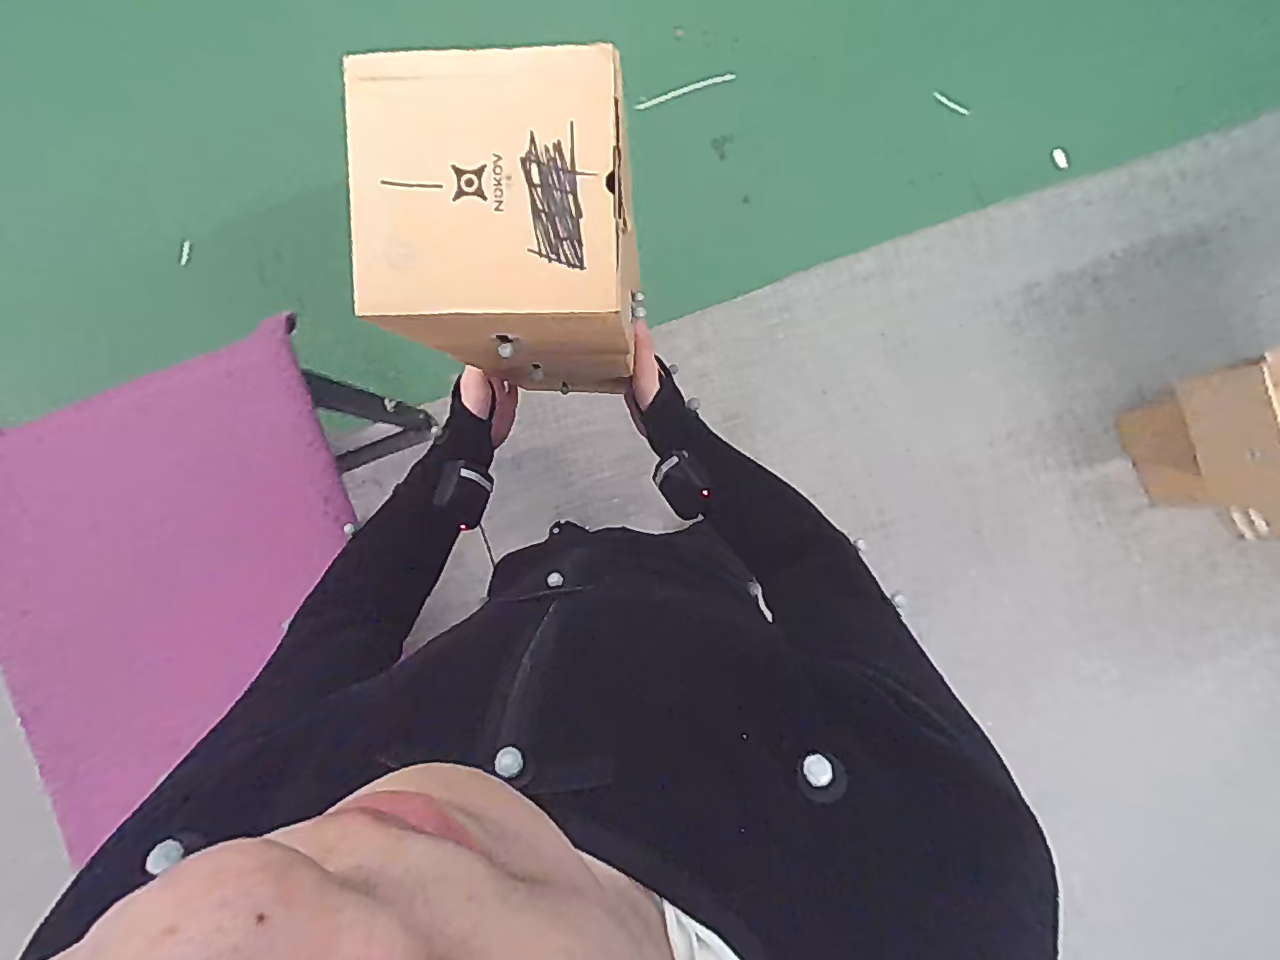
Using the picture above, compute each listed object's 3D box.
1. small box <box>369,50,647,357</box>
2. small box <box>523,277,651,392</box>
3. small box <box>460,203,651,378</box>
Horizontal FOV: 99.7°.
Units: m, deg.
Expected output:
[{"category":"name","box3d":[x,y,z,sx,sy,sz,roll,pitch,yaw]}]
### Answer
[{"category":"small box","box3d":[-0.083,-0.192,0.424,0.179,0.176,0.168,0,95,2]},{"category":"small box","box3d":[-0.077,-0.215,0.750,0.179,0.176,0.168,4,94,0]},{"category":"small box","box3d":[-0.080,-0.203,0.588,0.179,0.176,0.168,2,96,2]}]
